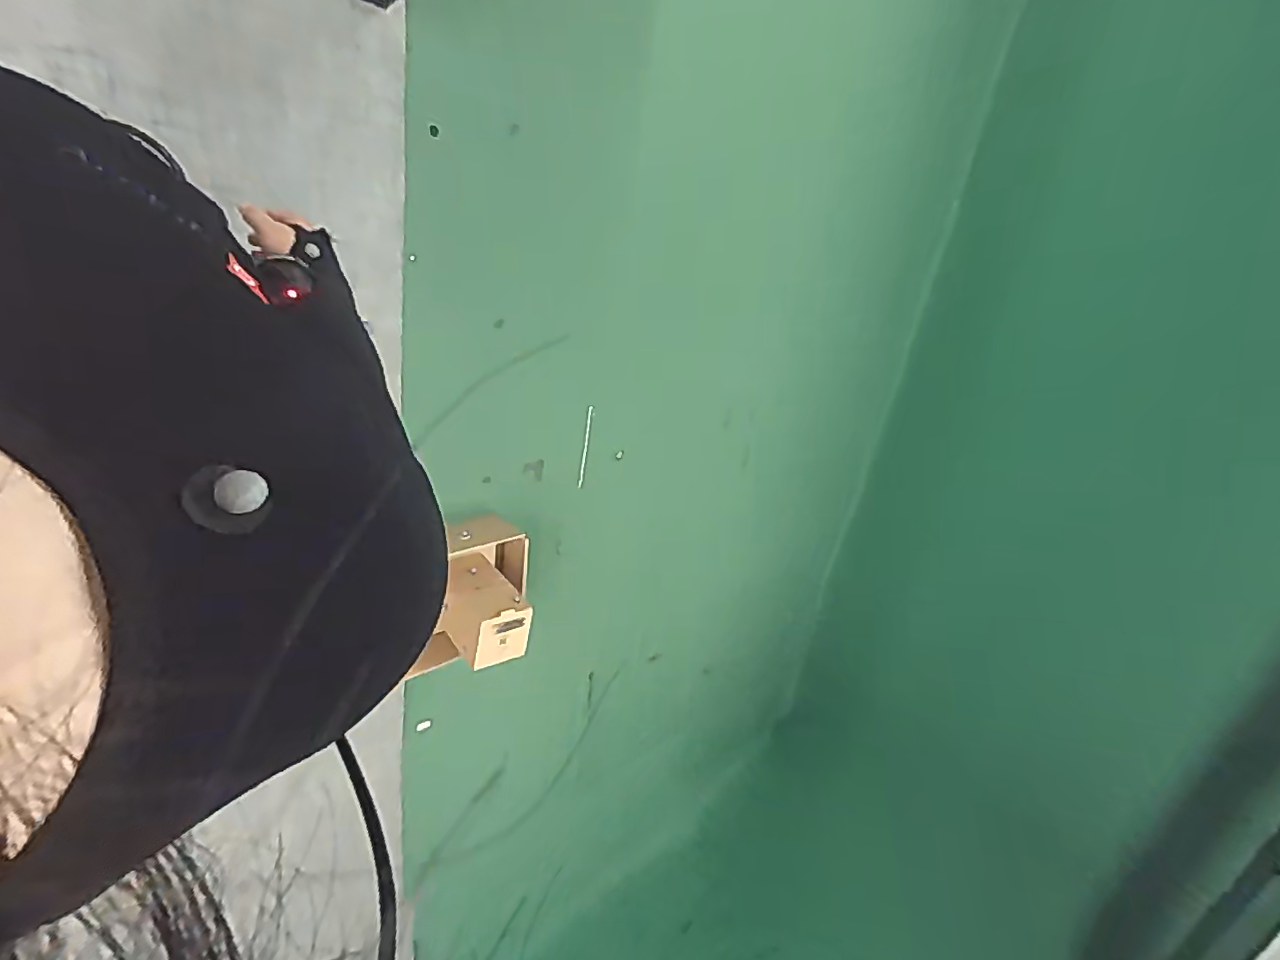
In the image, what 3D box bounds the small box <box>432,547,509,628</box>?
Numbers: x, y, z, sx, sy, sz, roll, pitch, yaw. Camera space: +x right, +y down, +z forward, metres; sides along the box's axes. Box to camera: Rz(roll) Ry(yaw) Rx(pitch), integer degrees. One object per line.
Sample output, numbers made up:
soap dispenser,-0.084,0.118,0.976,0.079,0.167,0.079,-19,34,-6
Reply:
small box,-0.540,0.332,1.715,0.179,0.176,0.168,-11,121,-40
